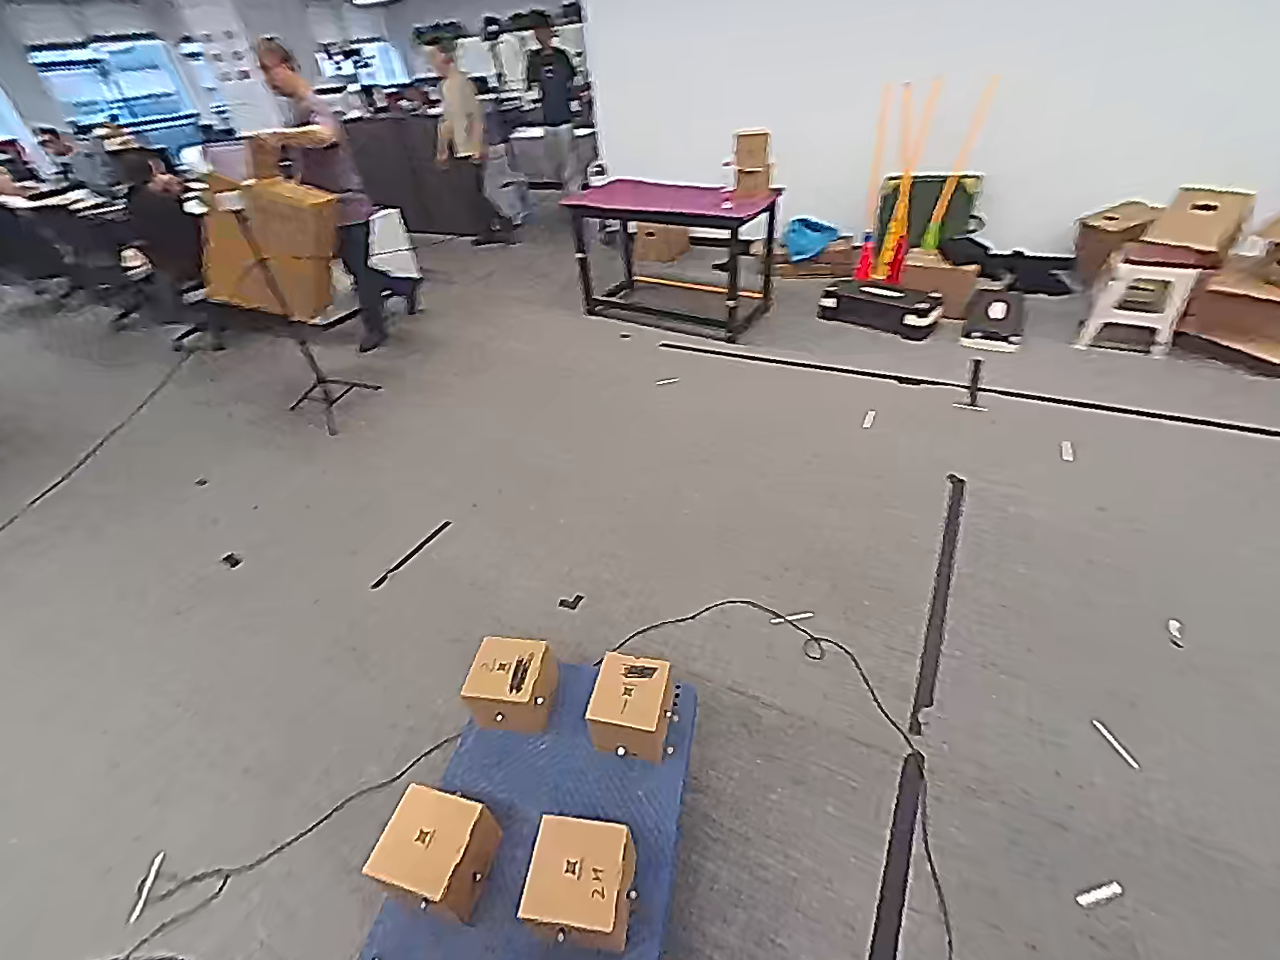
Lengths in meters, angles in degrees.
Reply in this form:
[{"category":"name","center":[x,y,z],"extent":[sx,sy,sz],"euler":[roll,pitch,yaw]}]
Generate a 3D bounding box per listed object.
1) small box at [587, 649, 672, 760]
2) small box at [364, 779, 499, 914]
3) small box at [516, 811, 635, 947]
[{"category":"small box","center":[-0.017,0.544,1.313],"extent":[0.168,0.176,0.179],"euler":[6,42,14]},{"category":"small box","center":[-0.417,0.754,1.112],"extent":[0.179,0.176,0.168],"euler":[8,41,14]},{"category":"small box","center":[-0.114,0.773,1.047],"extent":[0.179,0.176,0.168],"euler":[2,40,10]}]
